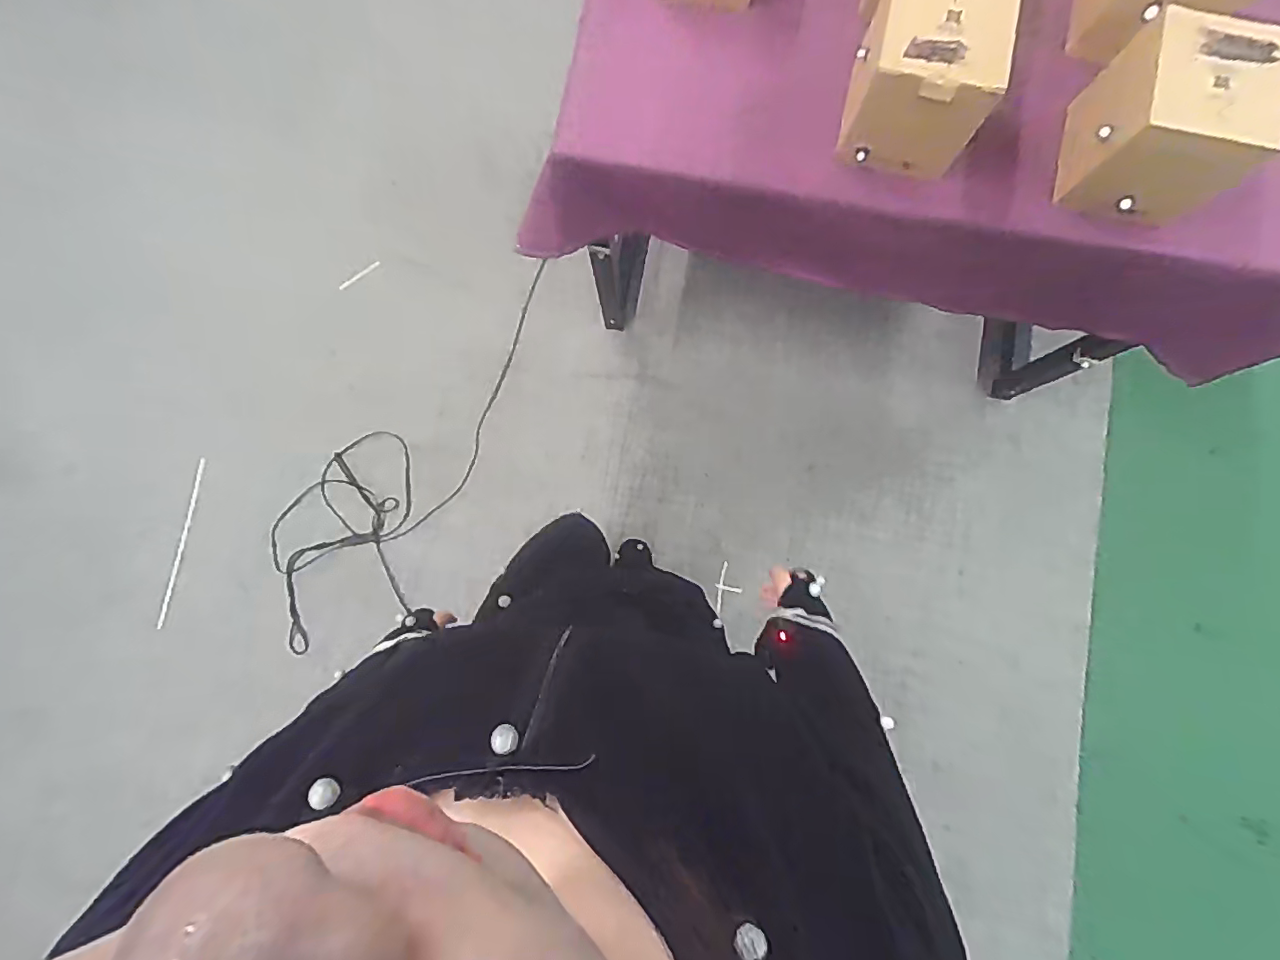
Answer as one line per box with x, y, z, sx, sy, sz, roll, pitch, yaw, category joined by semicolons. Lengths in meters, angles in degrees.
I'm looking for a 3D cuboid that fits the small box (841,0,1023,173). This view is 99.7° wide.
0.404;-0.579;0.771;0.168;0.176;0.179;13;82;3;small box

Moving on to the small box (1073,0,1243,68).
0.779;-0.752;0.784;0.168;0.176;0.179;14;83;3;small box
